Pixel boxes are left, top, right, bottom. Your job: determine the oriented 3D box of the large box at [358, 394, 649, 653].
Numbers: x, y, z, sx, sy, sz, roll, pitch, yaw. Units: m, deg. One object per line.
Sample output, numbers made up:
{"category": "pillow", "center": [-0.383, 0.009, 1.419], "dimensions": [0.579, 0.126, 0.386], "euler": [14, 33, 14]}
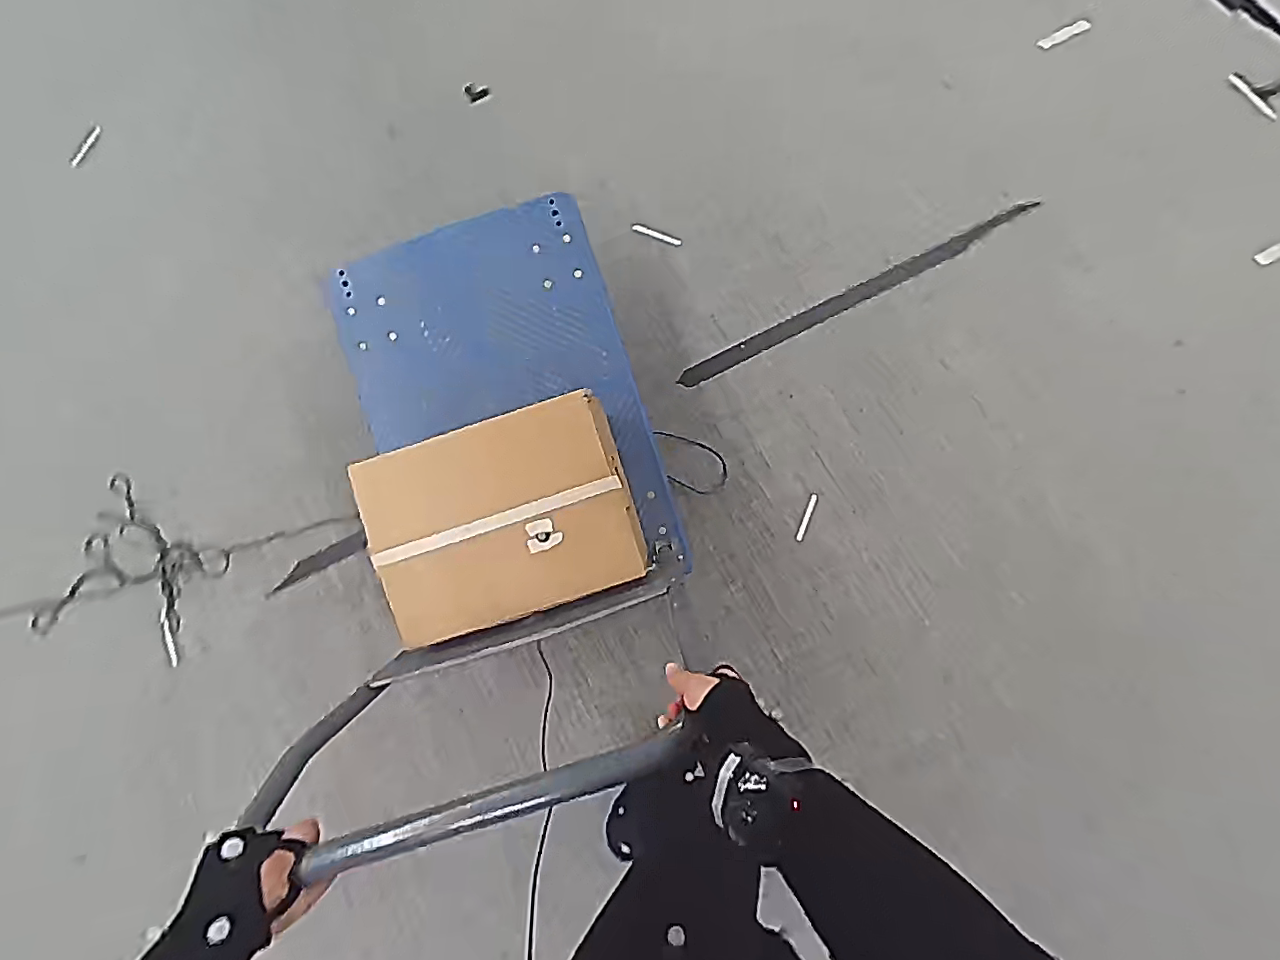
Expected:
{"category": "large box", "center": [-0.220, 0.073, 1.012], "dimensions": [0.408, 0.320, 0.320], "euler": [-19, 90, 0]}
